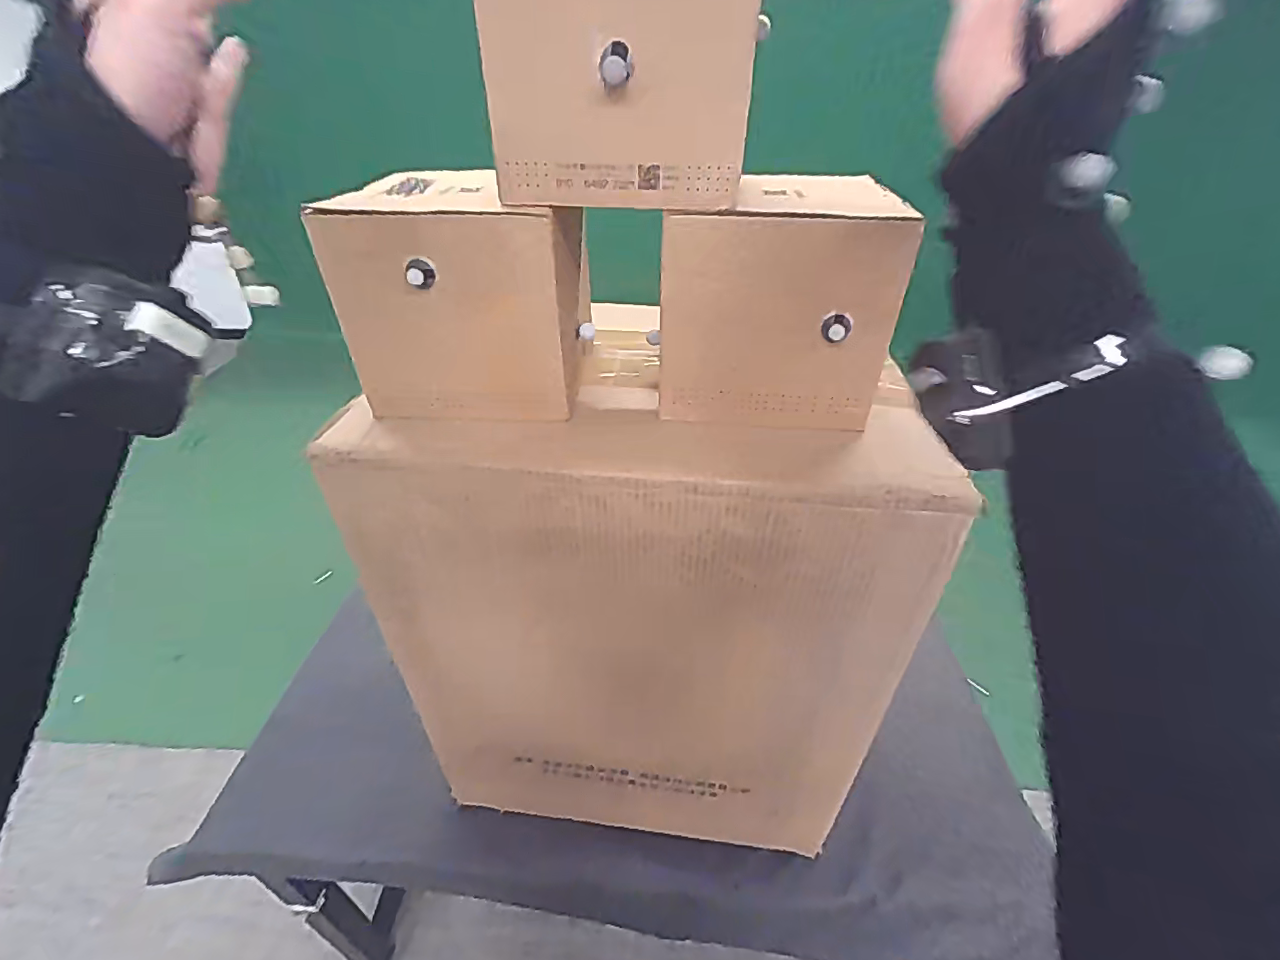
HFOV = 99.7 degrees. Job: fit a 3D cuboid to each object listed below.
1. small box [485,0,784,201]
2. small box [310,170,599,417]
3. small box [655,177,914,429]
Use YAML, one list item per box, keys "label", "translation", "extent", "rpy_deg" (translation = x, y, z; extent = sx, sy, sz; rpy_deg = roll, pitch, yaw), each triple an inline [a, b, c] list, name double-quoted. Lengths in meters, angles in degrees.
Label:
- label: "small box"
  translation: [-0.007, -0.314, 0.399]
  extent: [0.179, 0.176, 0.168]
  rpy_deg: [-17, 40, -20]
- label: "small box"
  translation: [-0.142, -0.171, 0.491]
  extent: [0.179, 0.176, 0.168]
  rpy_deg: [4, 40, 7]
- label: "small box"
  translation: [0.109, -0.158, 0.478]
  extent: [0.179, 0.176, 0.168]
  rpy_deg: [3, 37, 6]
